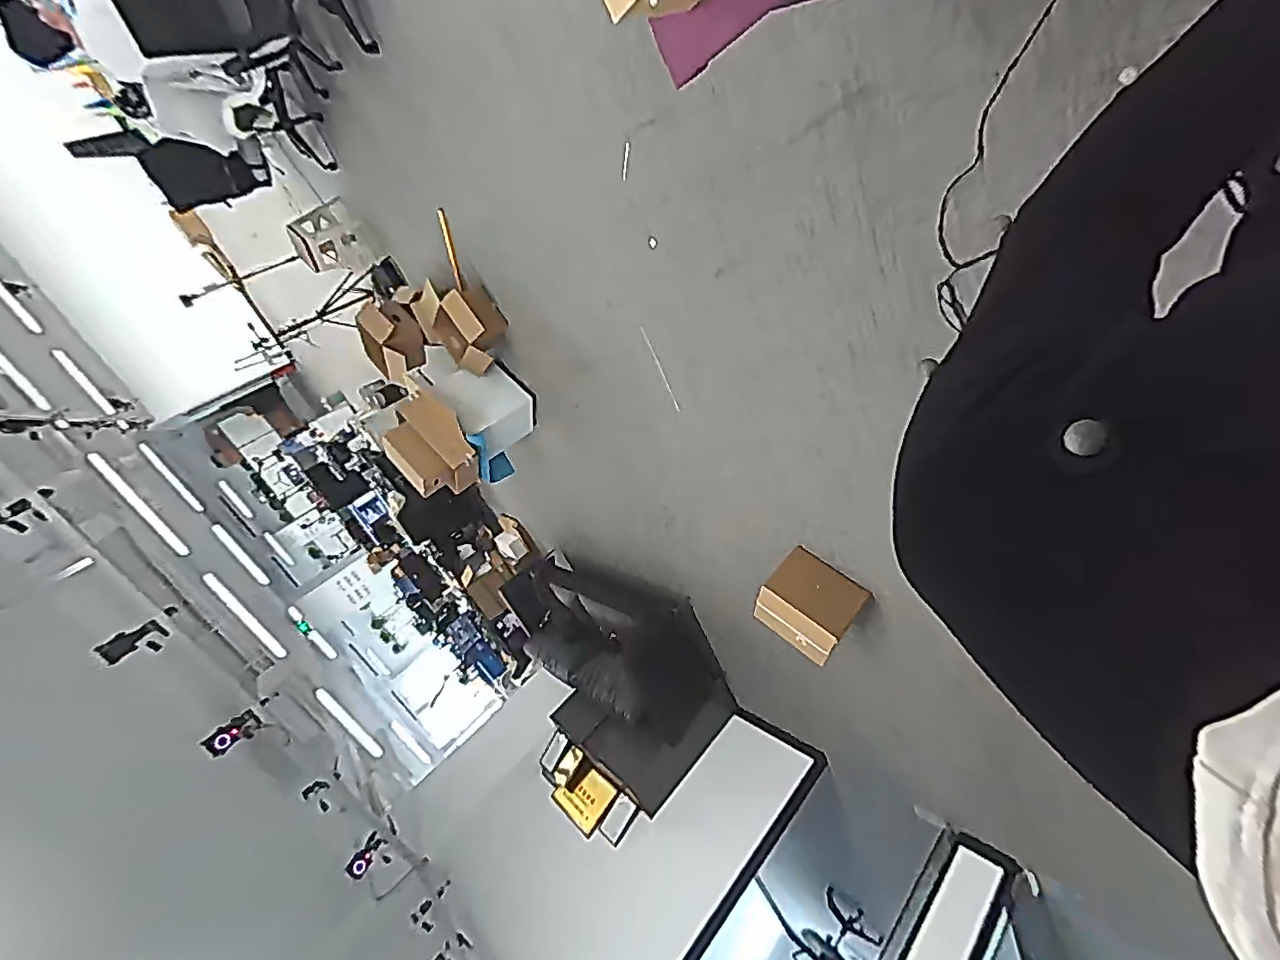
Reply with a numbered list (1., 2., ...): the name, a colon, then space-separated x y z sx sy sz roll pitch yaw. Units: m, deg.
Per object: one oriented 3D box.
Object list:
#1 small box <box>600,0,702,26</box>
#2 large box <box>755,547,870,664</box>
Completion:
1. small box: 0.030 -0.760 0.722 0.168 0.176 0.179 5 127 54
2. large box: 0.827 0.603 2.636 0.408 0.320 0.320 34 149 27
